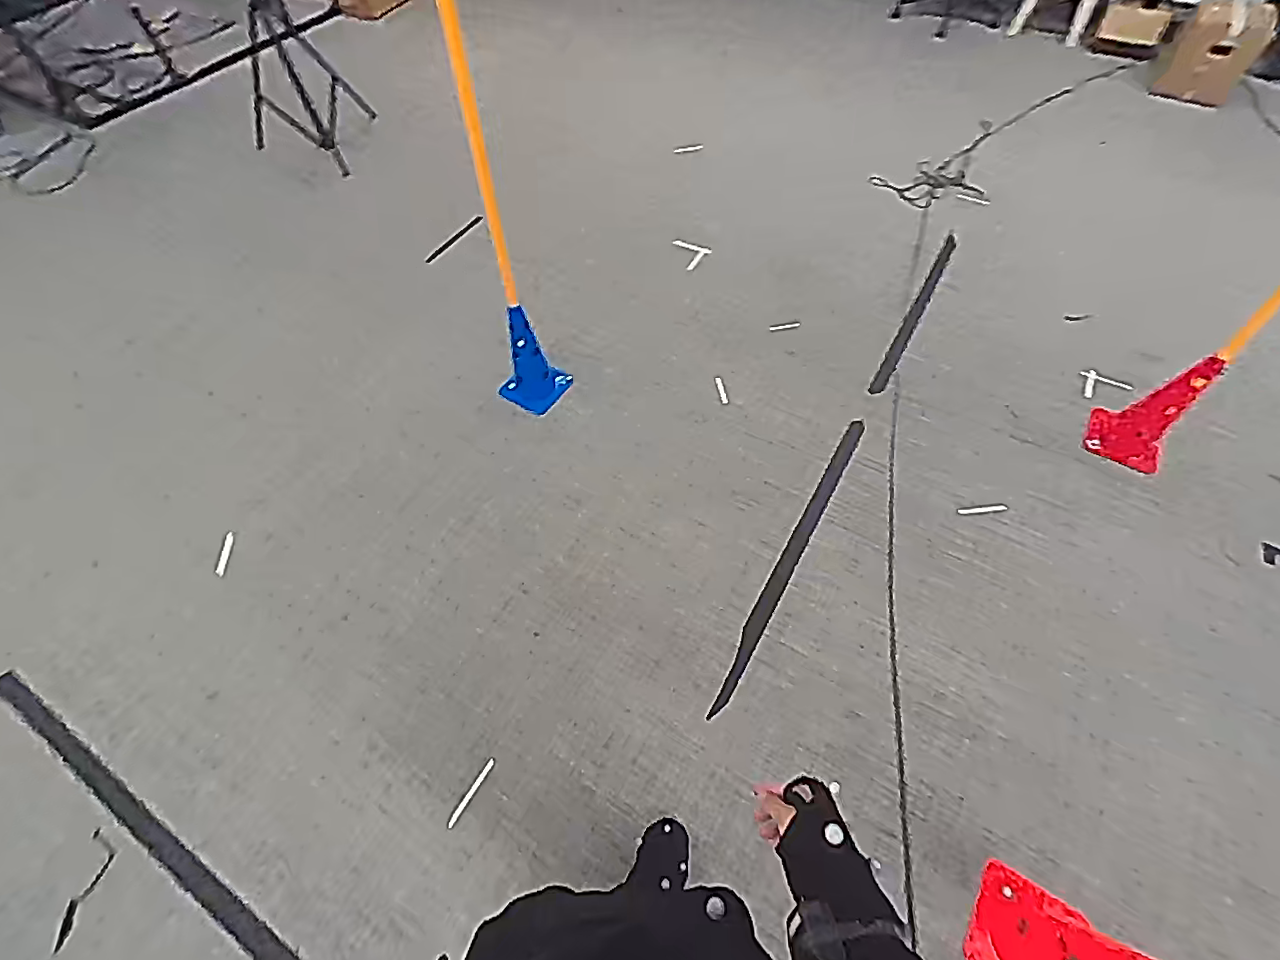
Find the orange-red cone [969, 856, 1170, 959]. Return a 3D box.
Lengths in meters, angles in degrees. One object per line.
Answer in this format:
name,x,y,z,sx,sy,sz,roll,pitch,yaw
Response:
orange-red cone,0.753,0.789,0.901,0.198,0.360,0.199,29,64,19

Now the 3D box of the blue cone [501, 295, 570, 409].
blue cone,-0.368,-0.421,1.730,0.193,0.380,0.192,29,63,19
